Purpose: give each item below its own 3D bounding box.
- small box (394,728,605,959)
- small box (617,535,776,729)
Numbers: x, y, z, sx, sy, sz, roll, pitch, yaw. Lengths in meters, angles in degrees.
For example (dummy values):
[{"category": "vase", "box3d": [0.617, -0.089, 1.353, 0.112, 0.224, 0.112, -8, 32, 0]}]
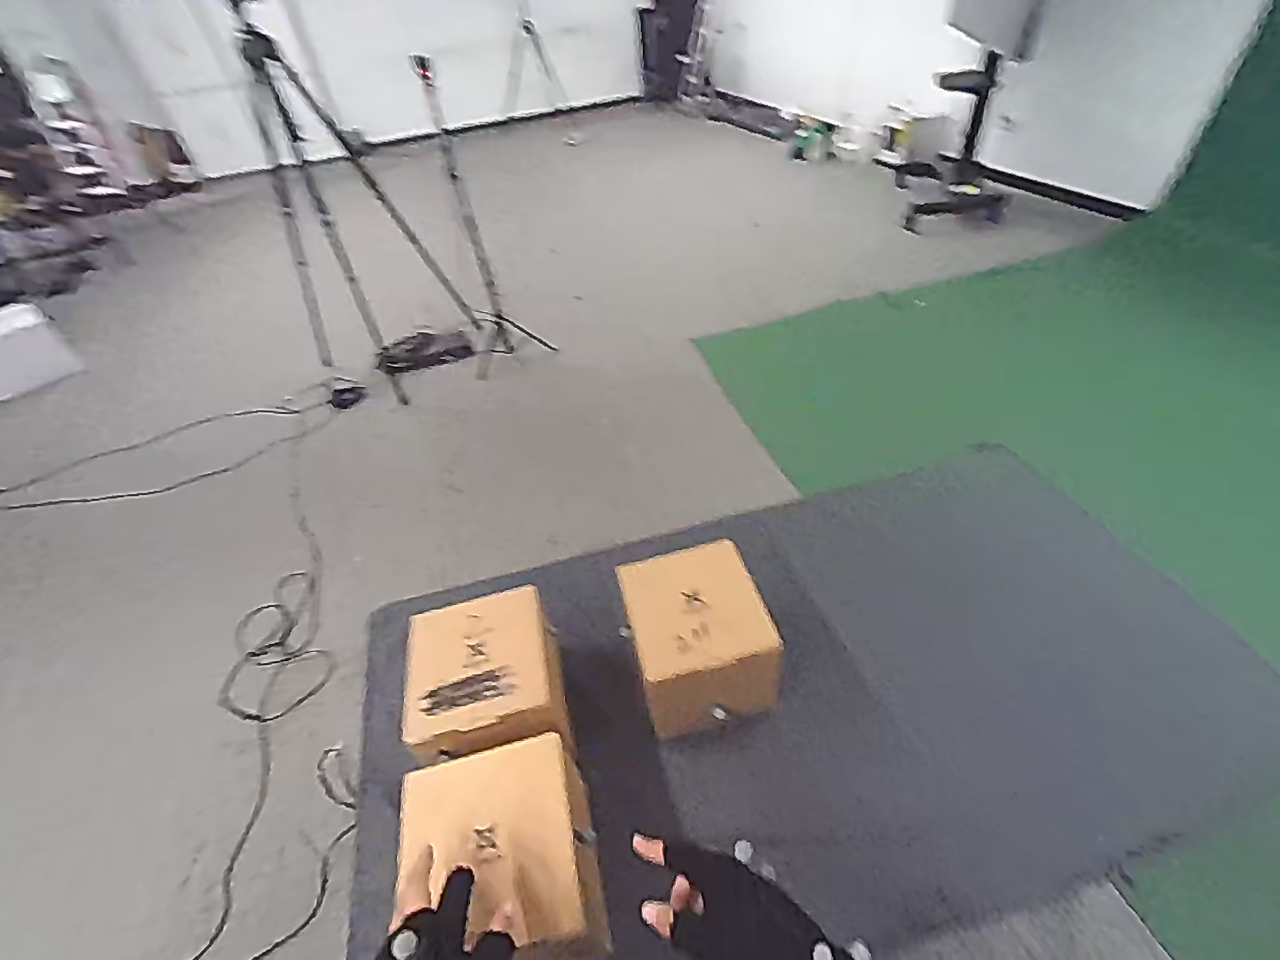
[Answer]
[{"category": "small box", "box3d": [-0.141, 0.403, 0.577, 0.168, 0.176, 0.179, -14, 45, -6]}, {"category": "small box", "box3d": [0.072, 0.210, 0.749, 0.168, 0.176, 0.179, -14, 44, -6]}]
